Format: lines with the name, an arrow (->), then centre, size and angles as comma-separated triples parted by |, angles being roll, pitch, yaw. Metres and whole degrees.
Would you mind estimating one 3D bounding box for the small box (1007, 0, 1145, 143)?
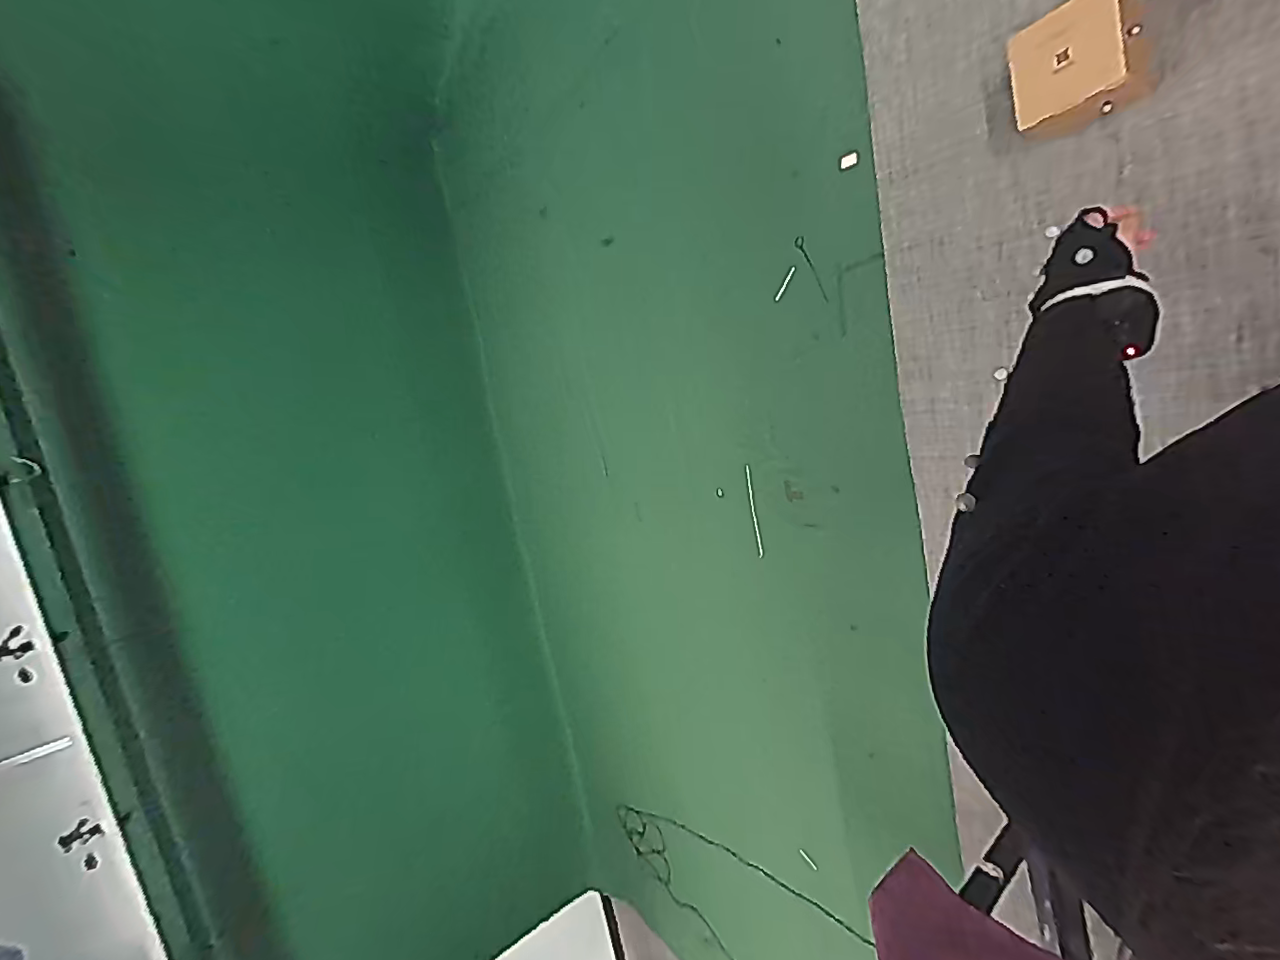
small box -> 0.848, -0.784, 1.050 | 0.168, 0.176, 0.179 | -3, 100, 54
